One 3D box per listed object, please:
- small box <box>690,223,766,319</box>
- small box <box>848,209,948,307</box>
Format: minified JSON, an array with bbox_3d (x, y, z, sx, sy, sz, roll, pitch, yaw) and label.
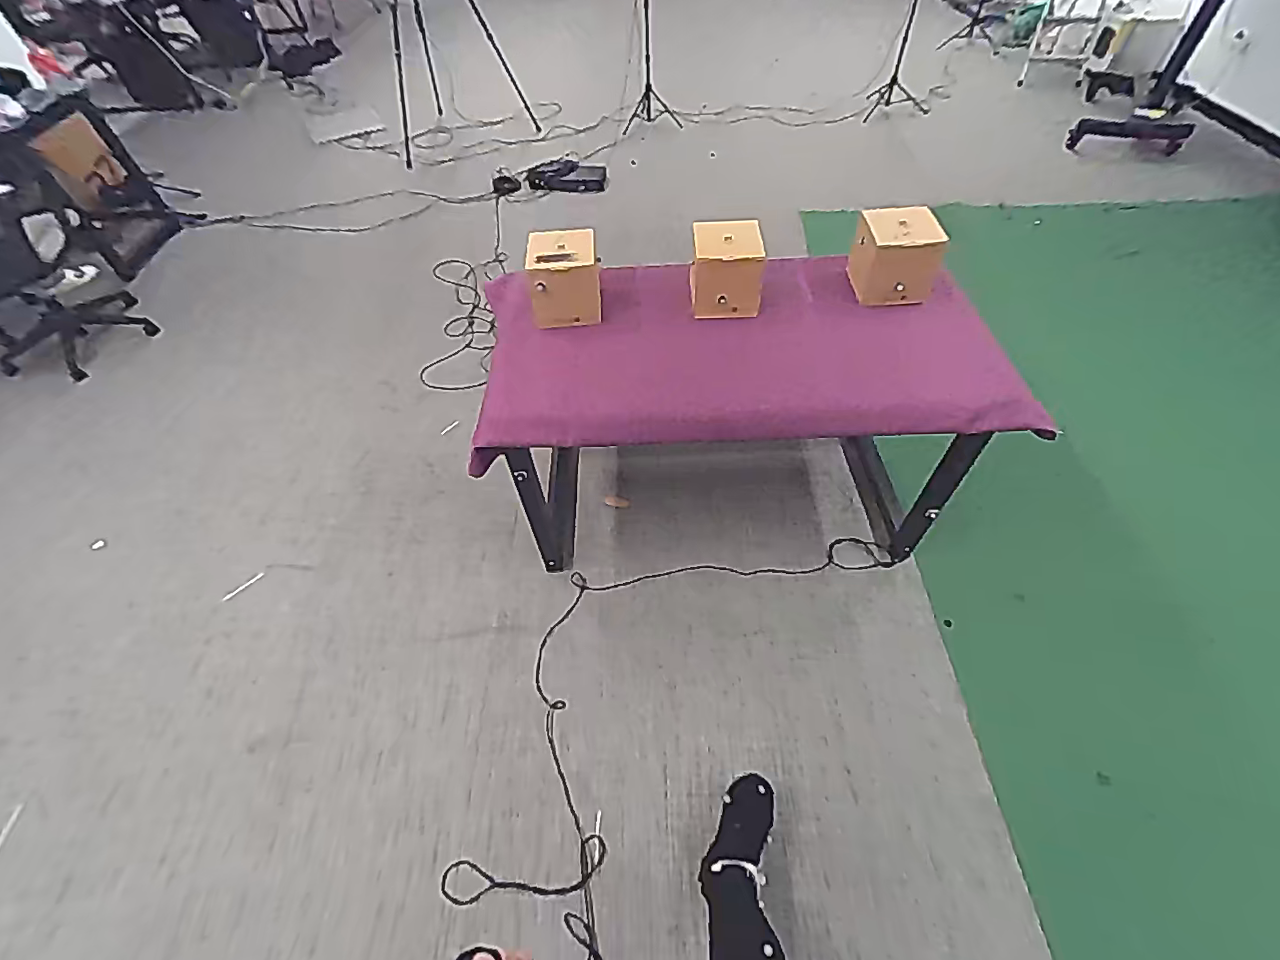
[{"bbox_3d":[0.217,-0.533,1.380,0.168,0.176,0.179,-1,53,1],"label":"small box"},{"bbox_3d":[0.645,-0.565,1.380,0.168,0.176,0.179,-2,53,4],"label":"small box"}]
